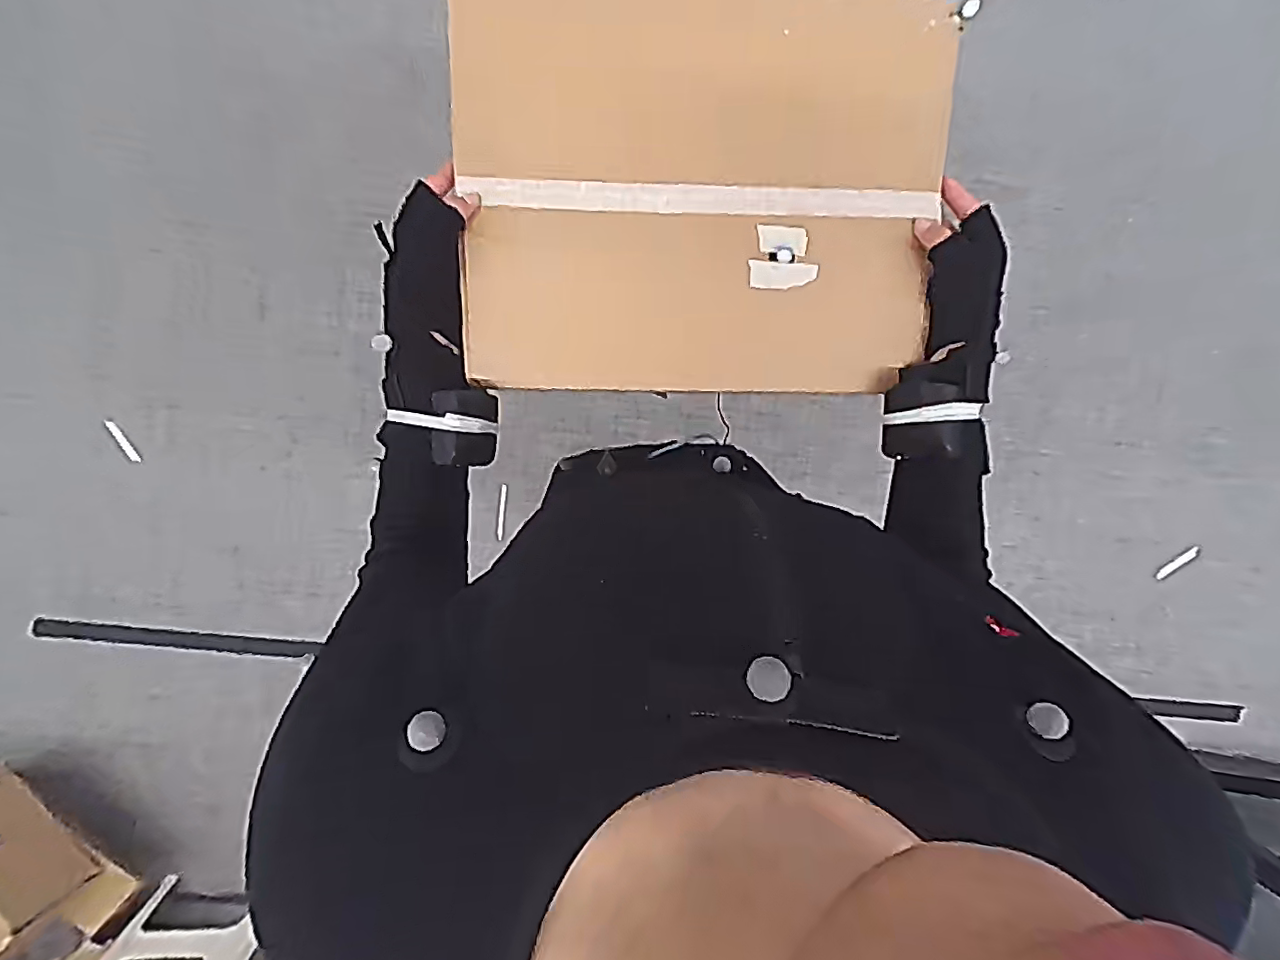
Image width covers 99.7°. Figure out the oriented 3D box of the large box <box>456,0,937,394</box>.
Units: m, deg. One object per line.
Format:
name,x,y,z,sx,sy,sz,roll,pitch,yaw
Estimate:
large box,0.039,-0.261,0.611,0.408,0.320,0.320,0,102,-5
